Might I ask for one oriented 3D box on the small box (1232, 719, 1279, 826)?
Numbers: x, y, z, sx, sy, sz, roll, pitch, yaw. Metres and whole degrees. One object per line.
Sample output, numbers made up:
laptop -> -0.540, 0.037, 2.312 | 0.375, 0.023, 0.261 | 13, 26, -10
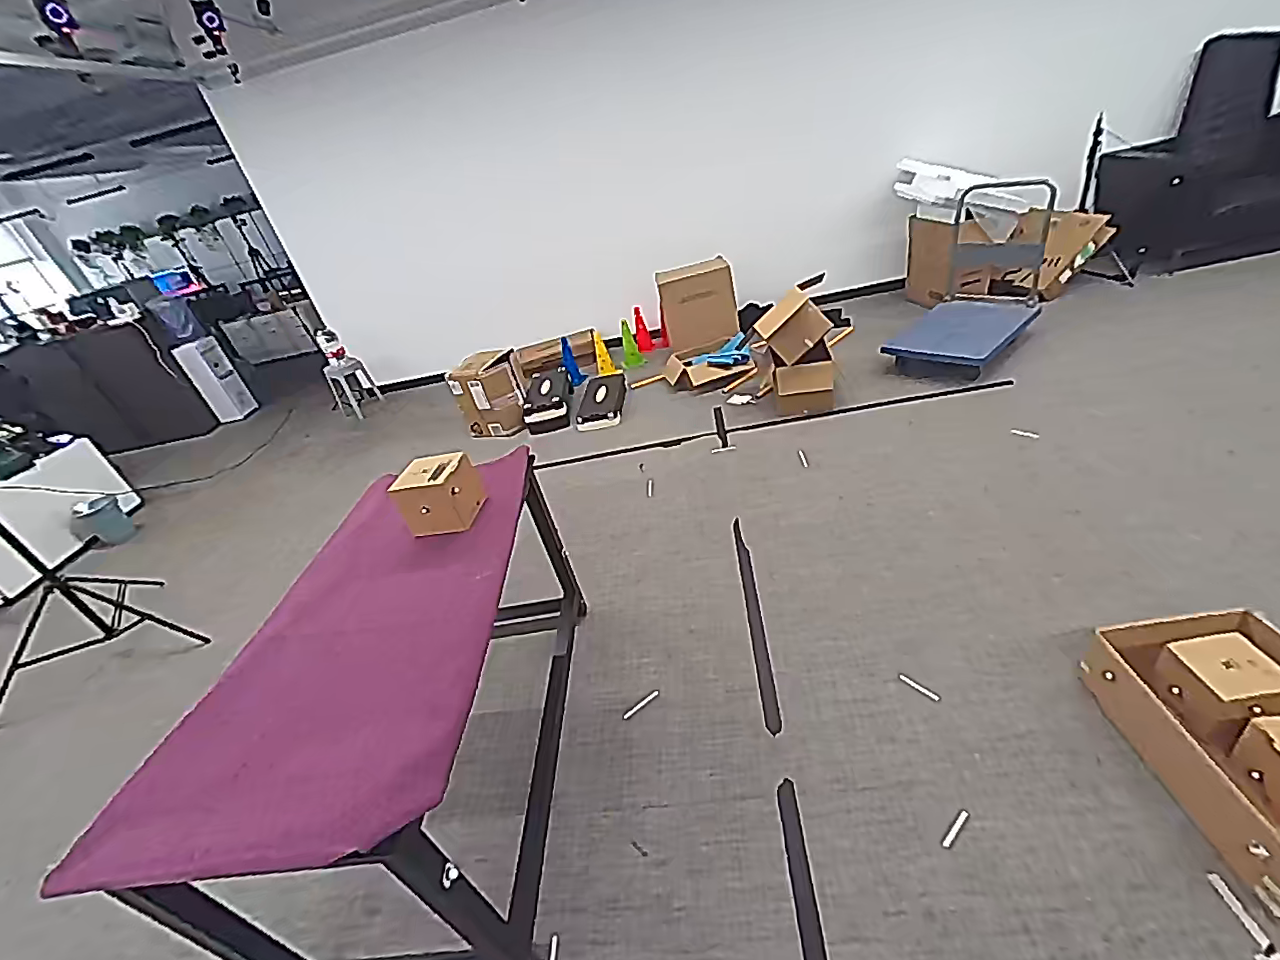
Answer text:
small box -> 1.450, 0.633, 1.153 | 0.179, 0.176, 0.168 | -8, 32, 12

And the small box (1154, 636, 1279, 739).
small box -> 1.431, 0.517, 1.336 | 0.179, 0.176, 0.168 | -11, 34, 5
